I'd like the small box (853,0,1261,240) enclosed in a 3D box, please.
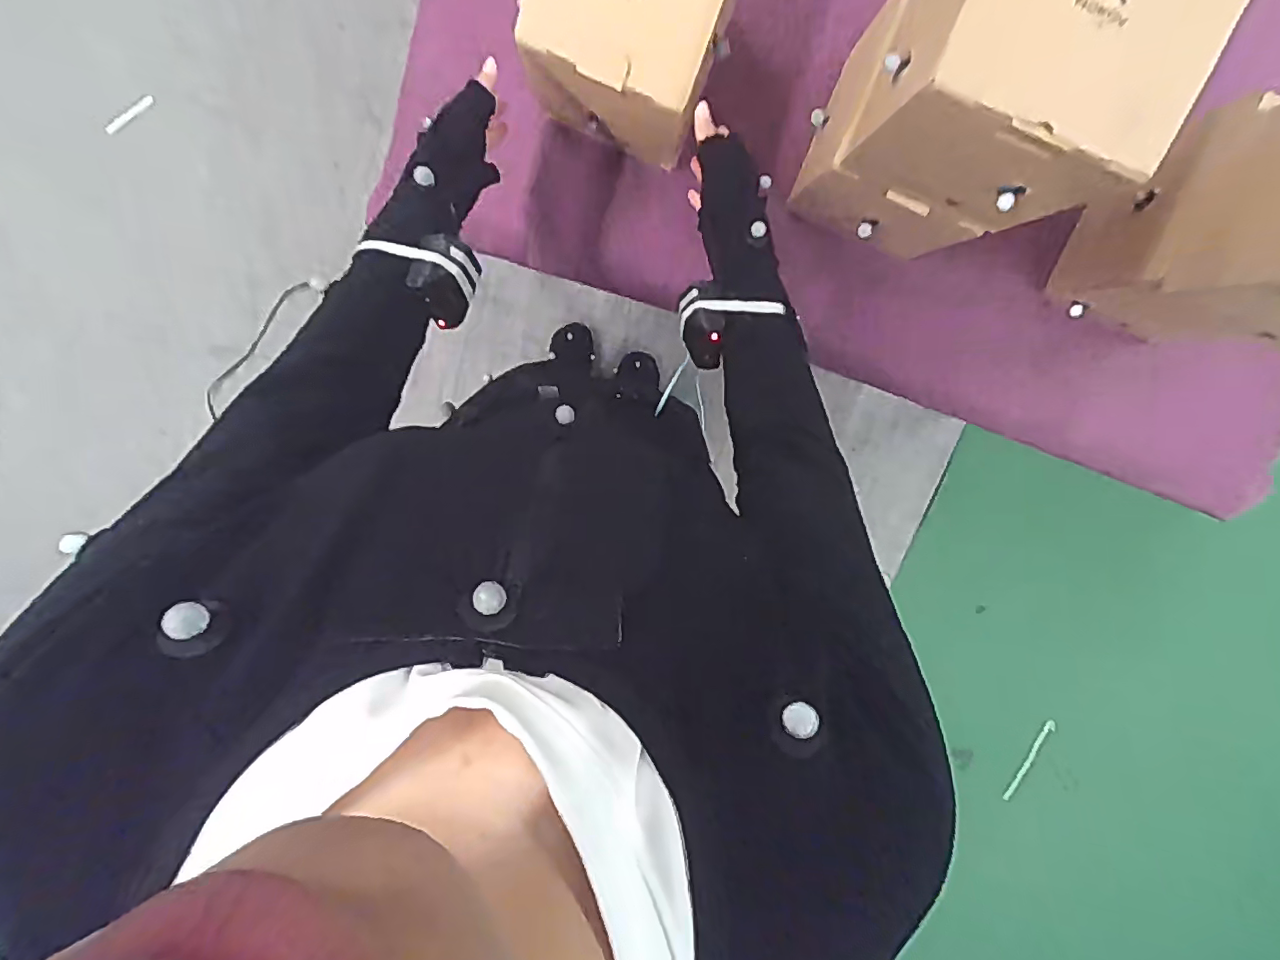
[{"bbox_3d":[0.290,-0.308,0.412,0.168,0.176,0.179,21,103,-5],"label":"small box"}]

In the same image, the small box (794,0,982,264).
[{"bbox_3d":[0.282,-0.348,0.570,0.168,0.176,0.179,21,103,-6],"label":"small box"}]
